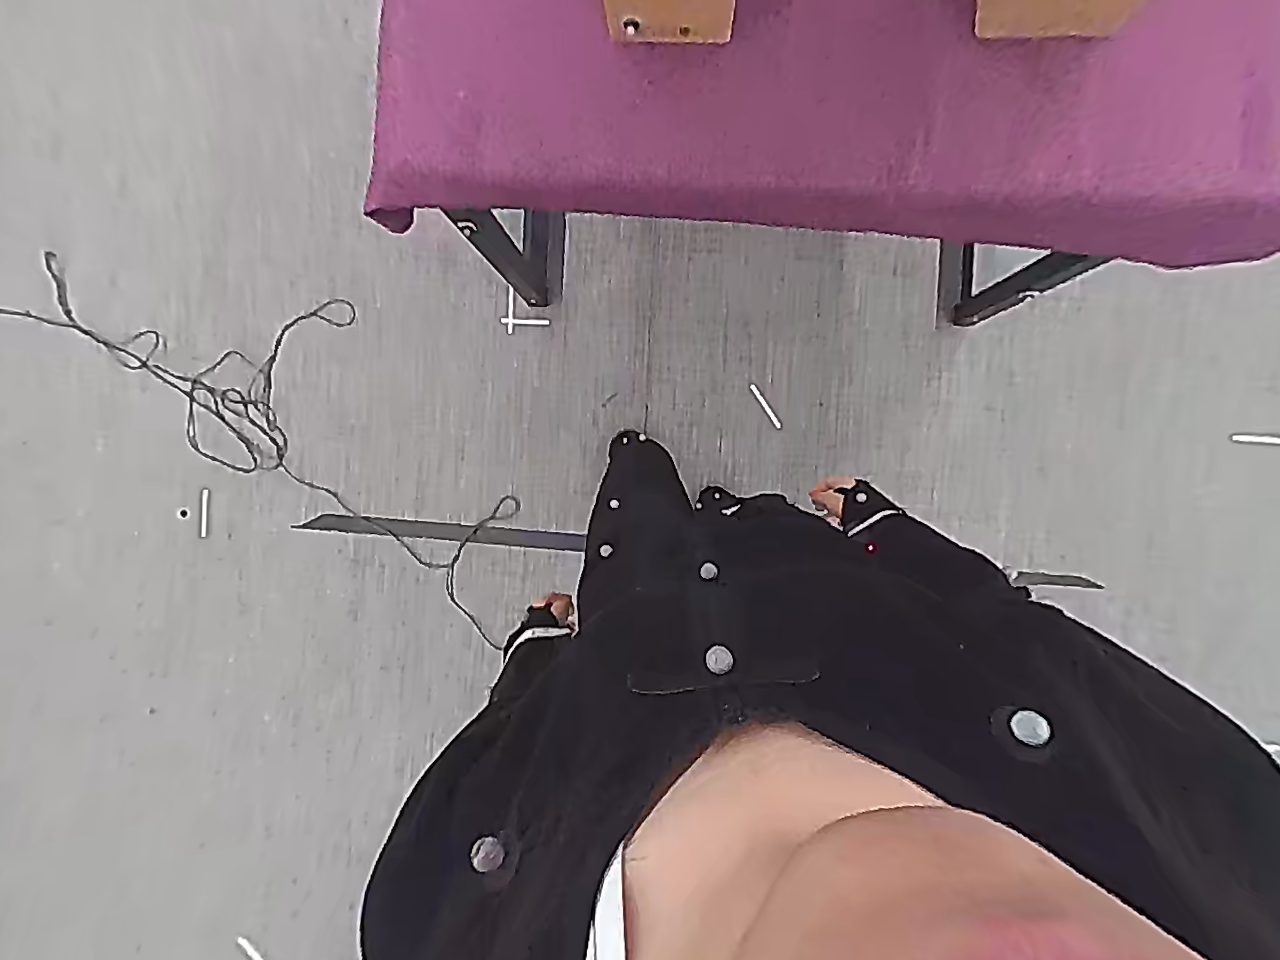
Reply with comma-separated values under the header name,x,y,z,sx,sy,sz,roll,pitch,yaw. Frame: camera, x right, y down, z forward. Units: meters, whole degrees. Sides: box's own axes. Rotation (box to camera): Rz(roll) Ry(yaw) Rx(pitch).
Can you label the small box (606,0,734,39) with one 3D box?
name,x,y,z,sx,sy,sz,roll,pitch,yaw
small box,0.040,-0.681,0.654,0.168,0.176,0.179,3,91,3
